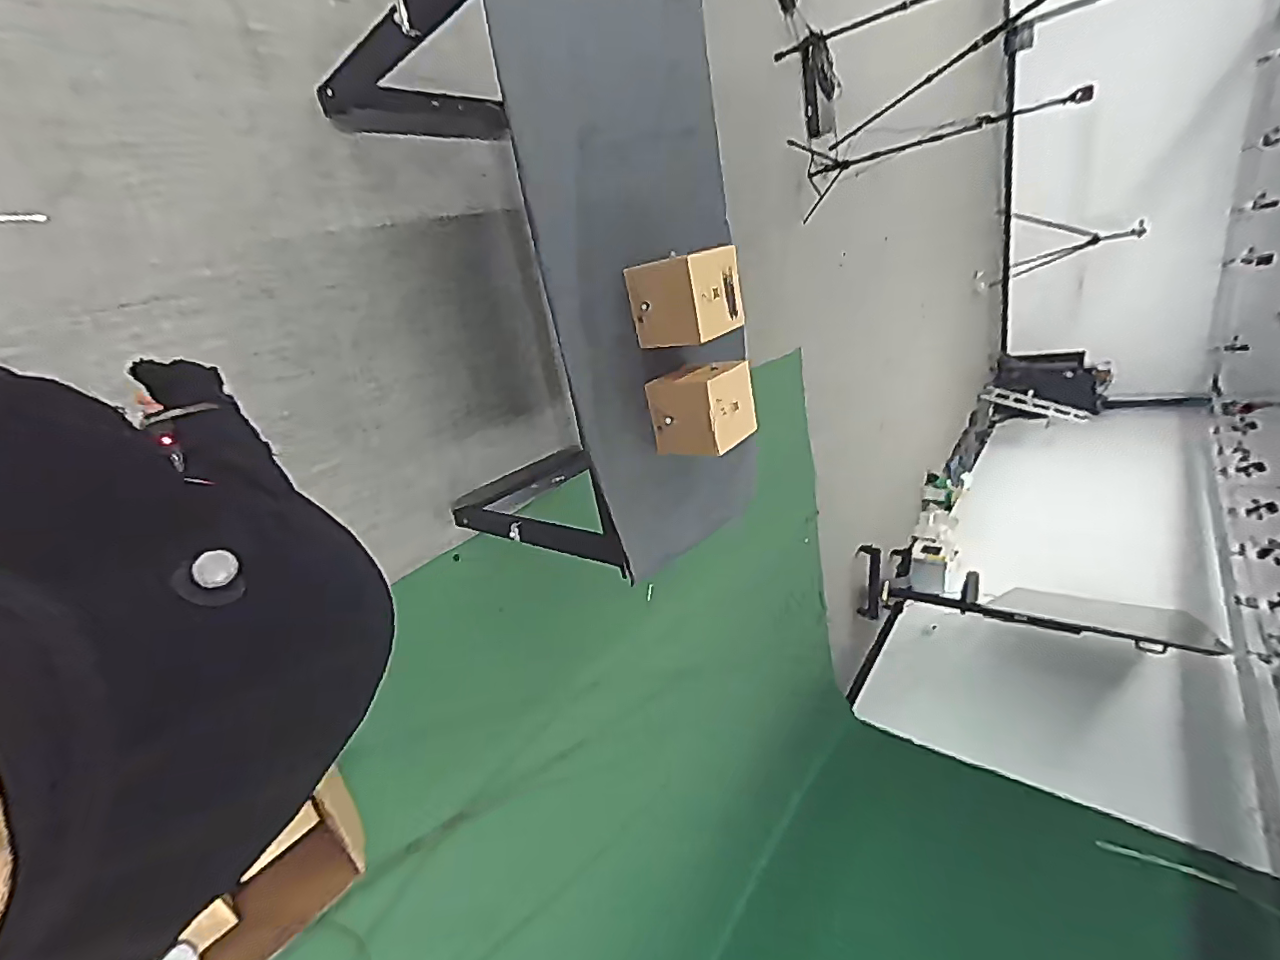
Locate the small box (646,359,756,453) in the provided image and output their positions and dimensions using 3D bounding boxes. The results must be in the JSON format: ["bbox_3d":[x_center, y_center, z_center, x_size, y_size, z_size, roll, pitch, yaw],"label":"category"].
[{"bbox_3d":[0.140,-0.171,1.227,0.179,0.176,0.168,-33,118,-42],"label":"small box"}]
